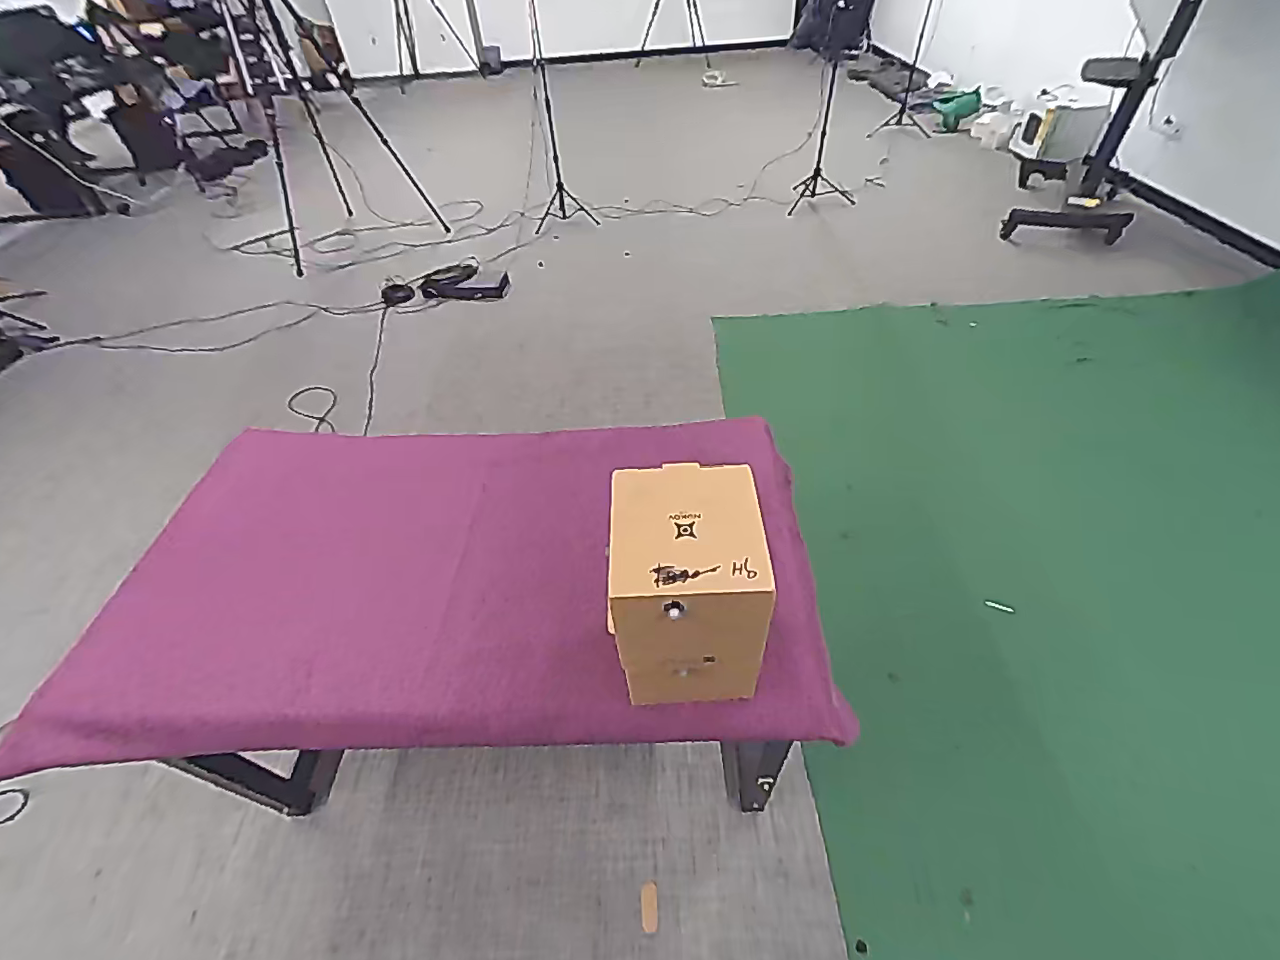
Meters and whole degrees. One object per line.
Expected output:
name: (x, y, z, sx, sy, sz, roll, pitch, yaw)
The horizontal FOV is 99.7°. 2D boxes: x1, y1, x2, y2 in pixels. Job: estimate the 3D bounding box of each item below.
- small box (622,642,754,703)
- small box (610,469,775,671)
small box: (0.068, 0.207, 0.776, 0.179, 0.176, 0.168, -4, 47, 1)
small box: (0.057, 0.107, 0.645, 0.168, 0.176, 0.179, -3, 46, 3)
